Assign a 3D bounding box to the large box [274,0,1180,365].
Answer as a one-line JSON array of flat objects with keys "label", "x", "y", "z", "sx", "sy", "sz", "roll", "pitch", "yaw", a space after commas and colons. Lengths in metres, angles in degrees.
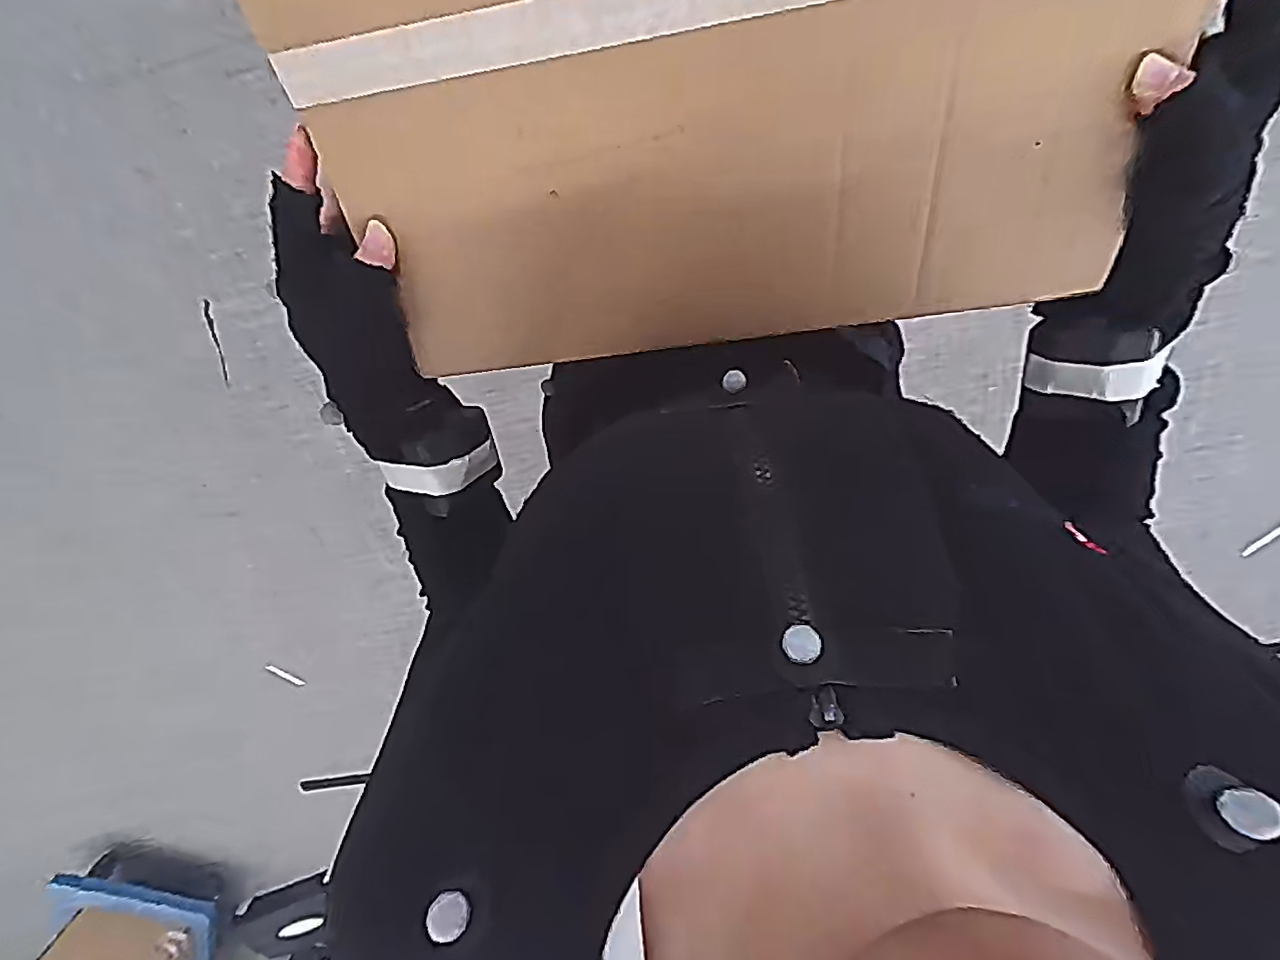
[{"label": "large box", "x": 0.037, "y": -0.306, "z": 0.356, "sx": 0.408, "sy": 0.320, "sz": 0.320, "roll": -6, "pitch": 129, "yaw": 7}]
